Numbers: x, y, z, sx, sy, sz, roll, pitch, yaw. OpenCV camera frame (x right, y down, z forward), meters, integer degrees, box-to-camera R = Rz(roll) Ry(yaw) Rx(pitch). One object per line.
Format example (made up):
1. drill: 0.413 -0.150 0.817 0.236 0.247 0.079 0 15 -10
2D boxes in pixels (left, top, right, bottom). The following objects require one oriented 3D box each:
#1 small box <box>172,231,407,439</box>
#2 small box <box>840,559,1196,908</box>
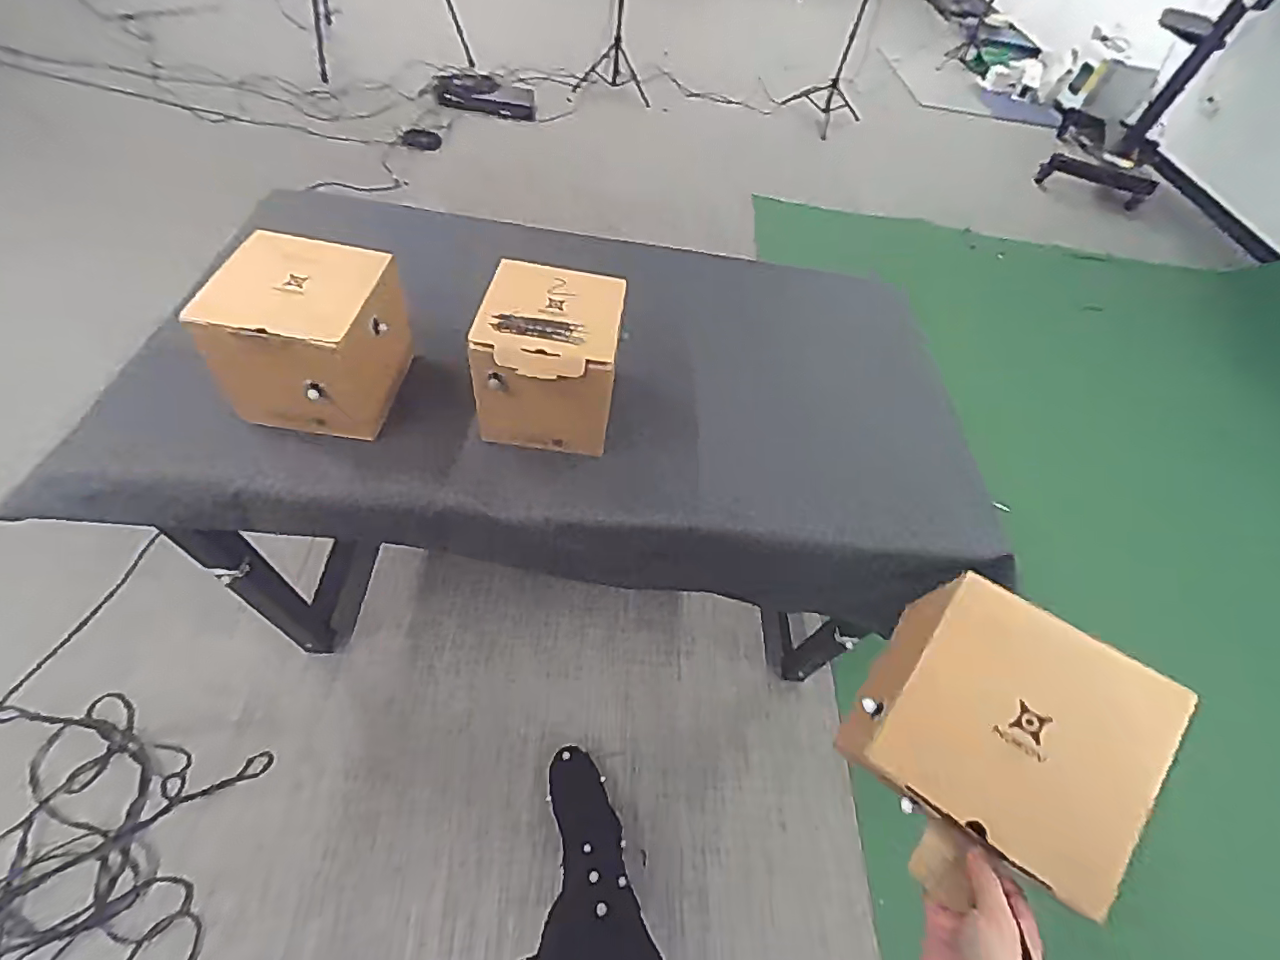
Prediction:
1. small box: -0.408 -0.174 0.674 0.168 0.176 0.179 9 52 -6
2. small box: 0.294 0.197 0.466 0.168 0.176 0.179 31 78 19
